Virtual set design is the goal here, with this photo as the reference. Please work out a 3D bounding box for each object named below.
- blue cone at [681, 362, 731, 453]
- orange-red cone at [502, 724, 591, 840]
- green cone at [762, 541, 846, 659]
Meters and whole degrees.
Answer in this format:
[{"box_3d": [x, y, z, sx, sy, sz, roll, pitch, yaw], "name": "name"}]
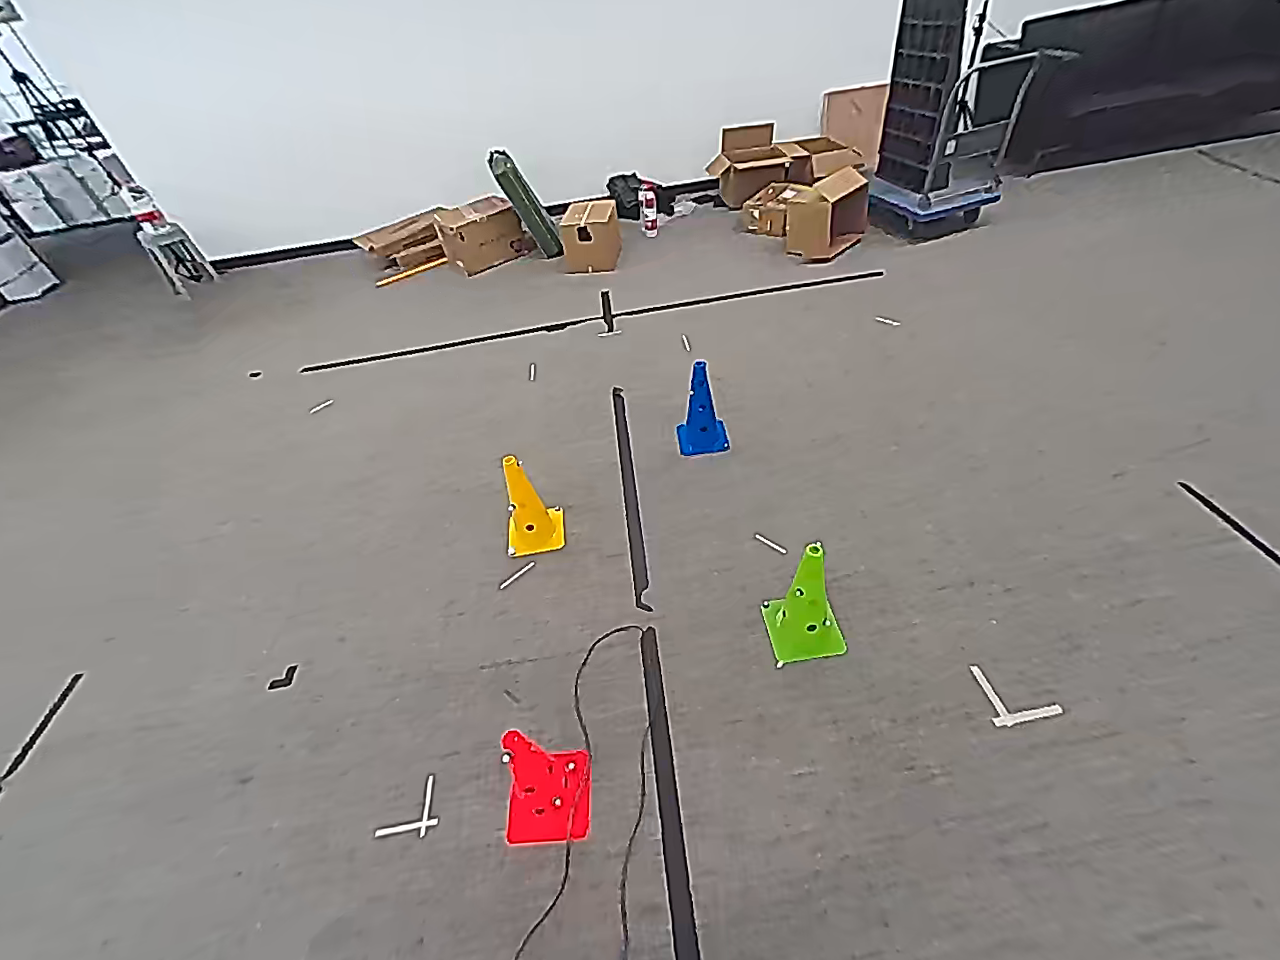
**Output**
[{"box_3d": [0.255, -0.294, 2.125, 0.192, 0.380, 0.193, -5, 44, 2], "name": "blue cone"}, {"box_3d": [-0.244, 0.642, 1.213, 0.199, 0.360, 0.198, -6, 42, 4], "name": "orange-red cone"}, {"box_3d": [0.454, 0.299, 1.451, 0.202, 0.368, 0.200, -8, 43, 0], "name": "green cone"}]
